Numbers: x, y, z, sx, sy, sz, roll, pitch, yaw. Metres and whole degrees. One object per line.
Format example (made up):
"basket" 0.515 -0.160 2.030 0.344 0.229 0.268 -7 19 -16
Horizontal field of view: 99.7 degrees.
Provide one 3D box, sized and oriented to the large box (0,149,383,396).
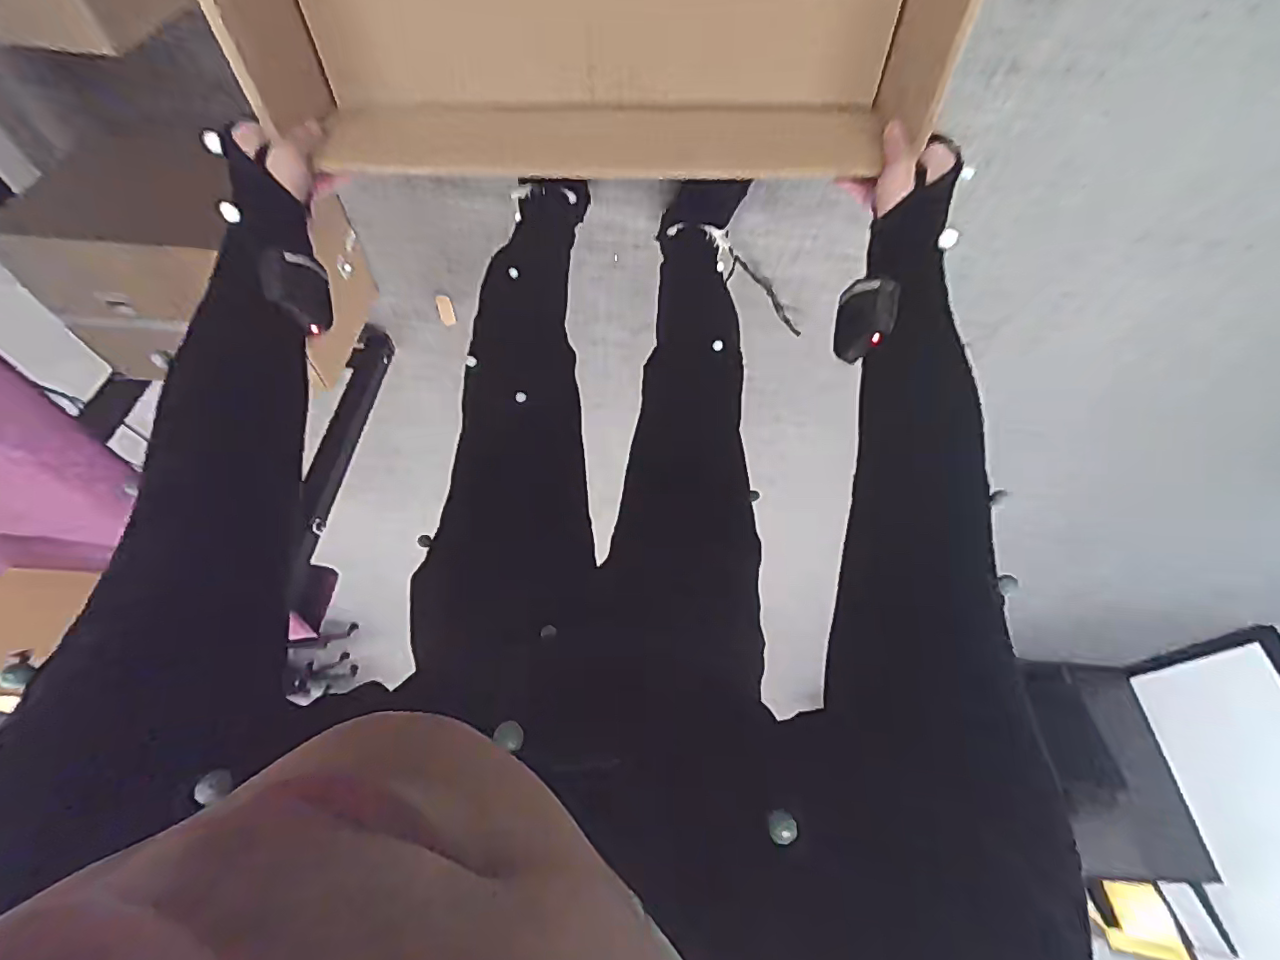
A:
"large box" -0.779 -0.386 1.021 0.408 0.320 0.320 4 144 -1
